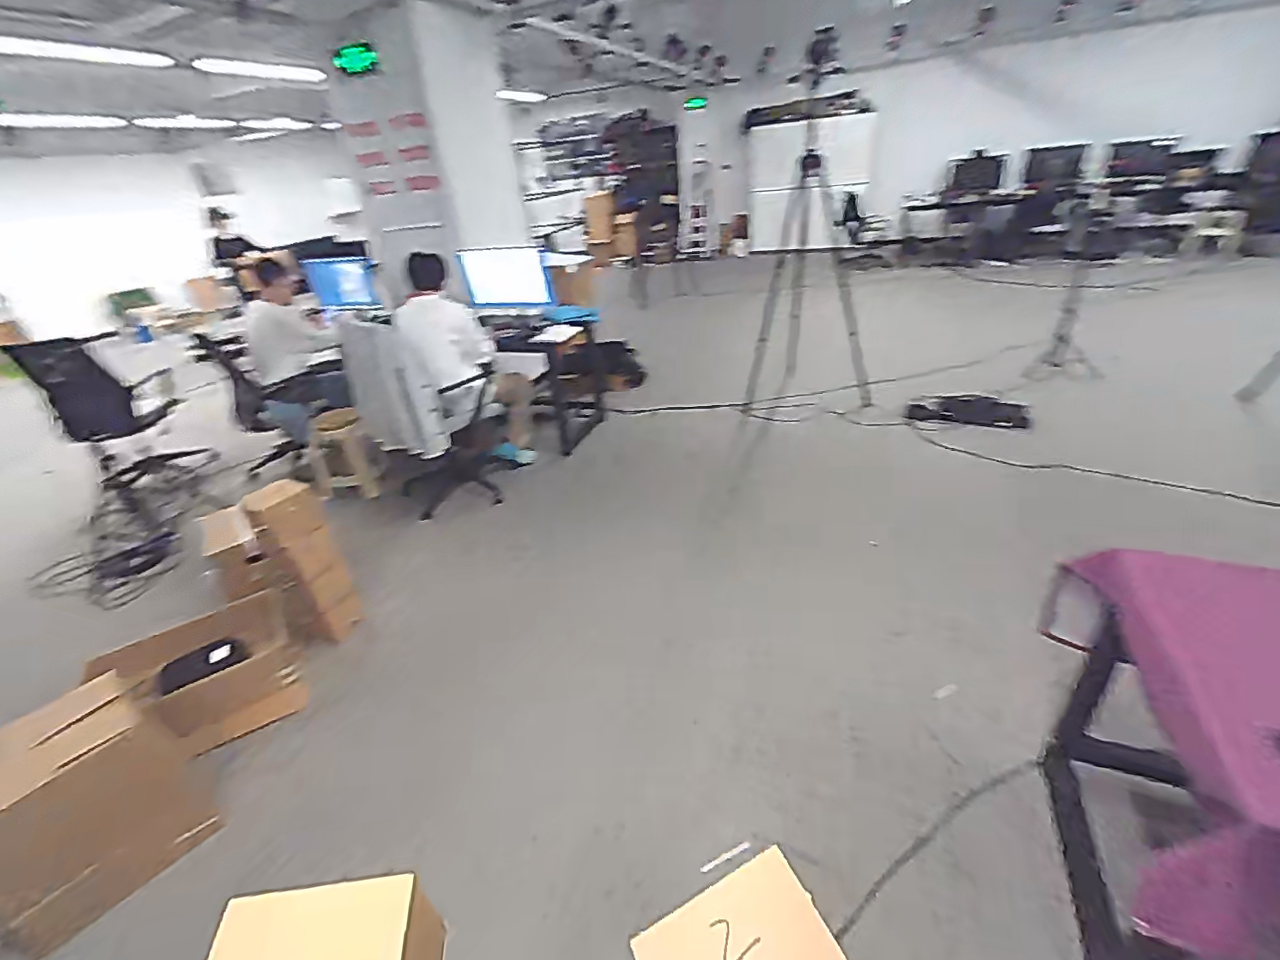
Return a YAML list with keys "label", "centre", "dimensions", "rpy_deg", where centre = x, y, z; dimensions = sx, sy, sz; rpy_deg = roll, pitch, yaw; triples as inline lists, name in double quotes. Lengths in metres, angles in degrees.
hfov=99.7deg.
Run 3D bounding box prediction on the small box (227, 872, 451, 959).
- label: "small box"
  centre: [-0.281, 0.502, 0.504]
  dimensions: [0.168, 0.176, 0.179]
  rpy_deg: [-2, 39, -7]
